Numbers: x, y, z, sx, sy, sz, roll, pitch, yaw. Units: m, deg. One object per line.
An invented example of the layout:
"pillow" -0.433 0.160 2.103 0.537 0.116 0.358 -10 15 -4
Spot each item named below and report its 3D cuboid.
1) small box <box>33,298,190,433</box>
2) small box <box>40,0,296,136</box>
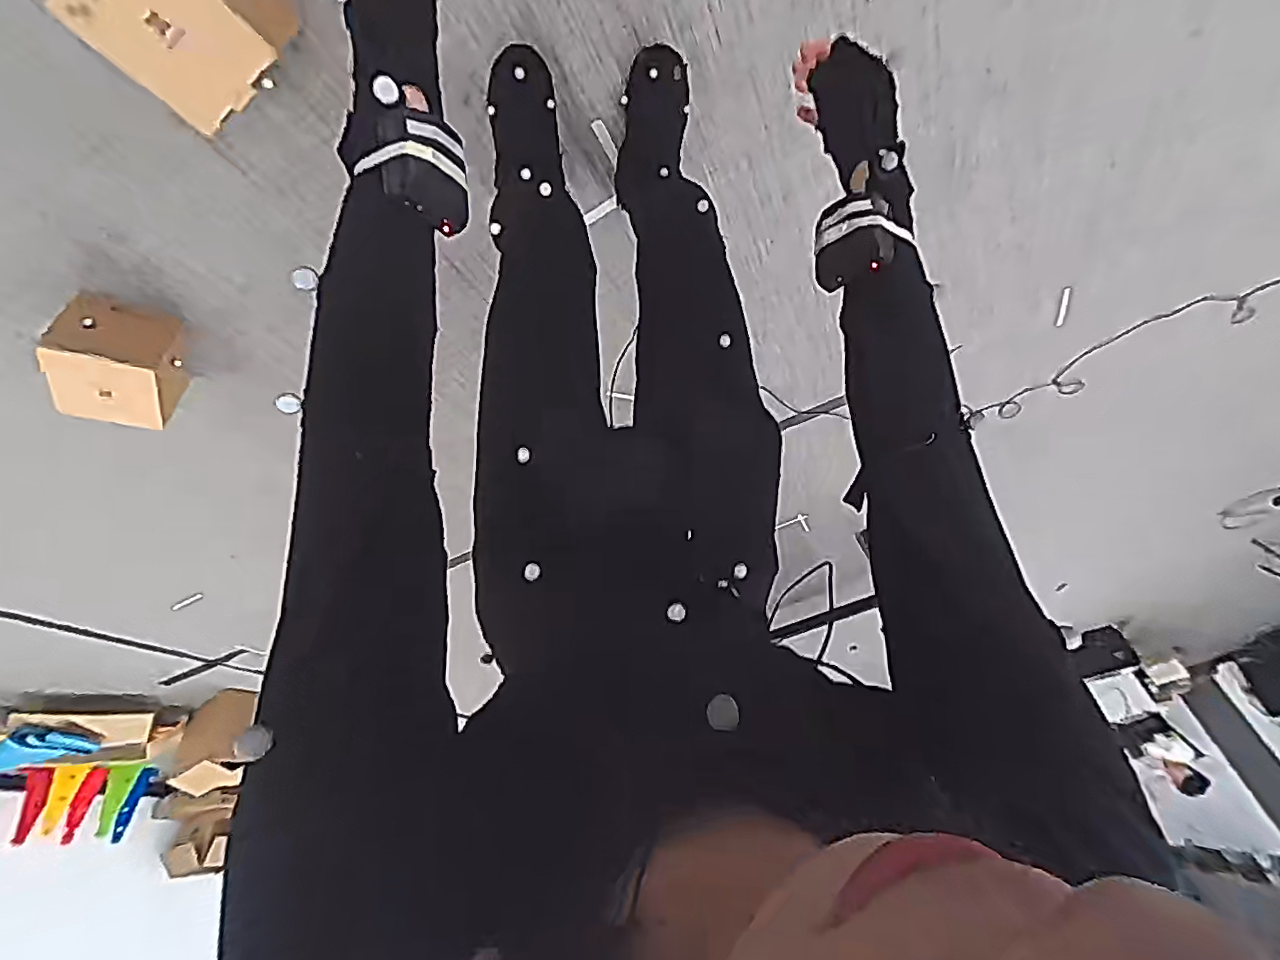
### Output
"small box" -1.020 -0.225 1.063 0.168 0.176 0.179 12 138 -26
"small box" -0.581 -0.601 0.693 0.168 0.176 0.179 -29 141 20
